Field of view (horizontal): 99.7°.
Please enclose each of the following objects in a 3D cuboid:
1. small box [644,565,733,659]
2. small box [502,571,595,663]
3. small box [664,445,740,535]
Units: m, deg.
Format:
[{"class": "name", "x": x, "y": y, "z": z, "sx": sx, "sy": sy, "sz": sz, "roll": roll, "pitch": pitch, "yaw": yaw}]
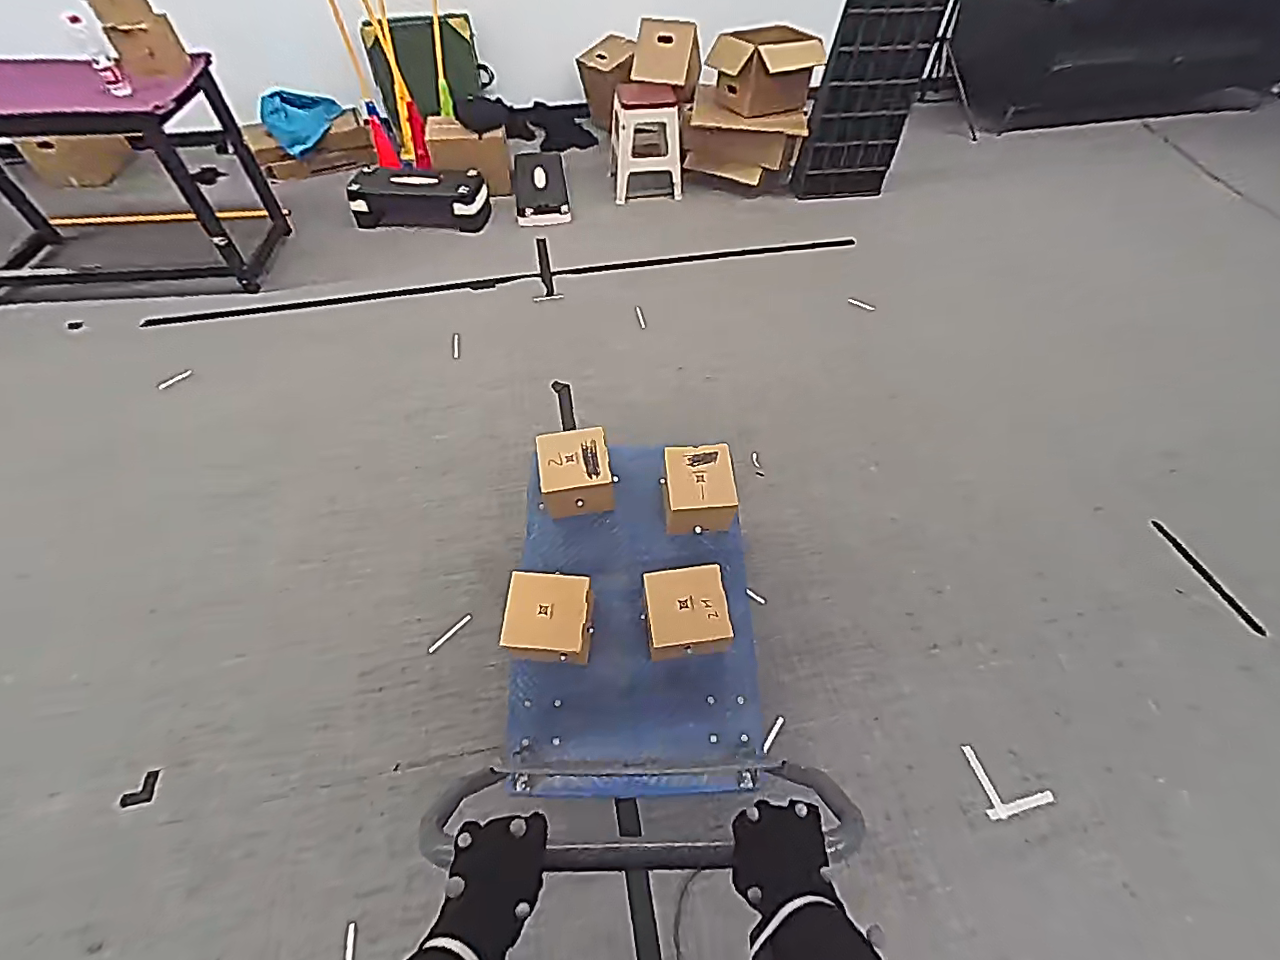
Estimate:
[{"class": "small box", "x": 0.106, "y": 0.309, "z": 1.249, "sx": 0.179, "sy": 0.176, "sz": 0.168, "roll": -6, "pitch": 63, "yaw": -3}, {"class": "small box", "x": -0.202, "y": 0.320, "z": 1.243, "sx": 0.179, "sy": 0.176, "sz": 0.168, "roll": 4, "pitch": 62, "yaw": 0}, {"class": "small box", "x": 0.152, "y": 0.027, "z": 1.396, "sx": 0.168, "sy": 0.176, "sz": 0.179, "roll": -4, "pitch": 63, "yaw": -2}]
